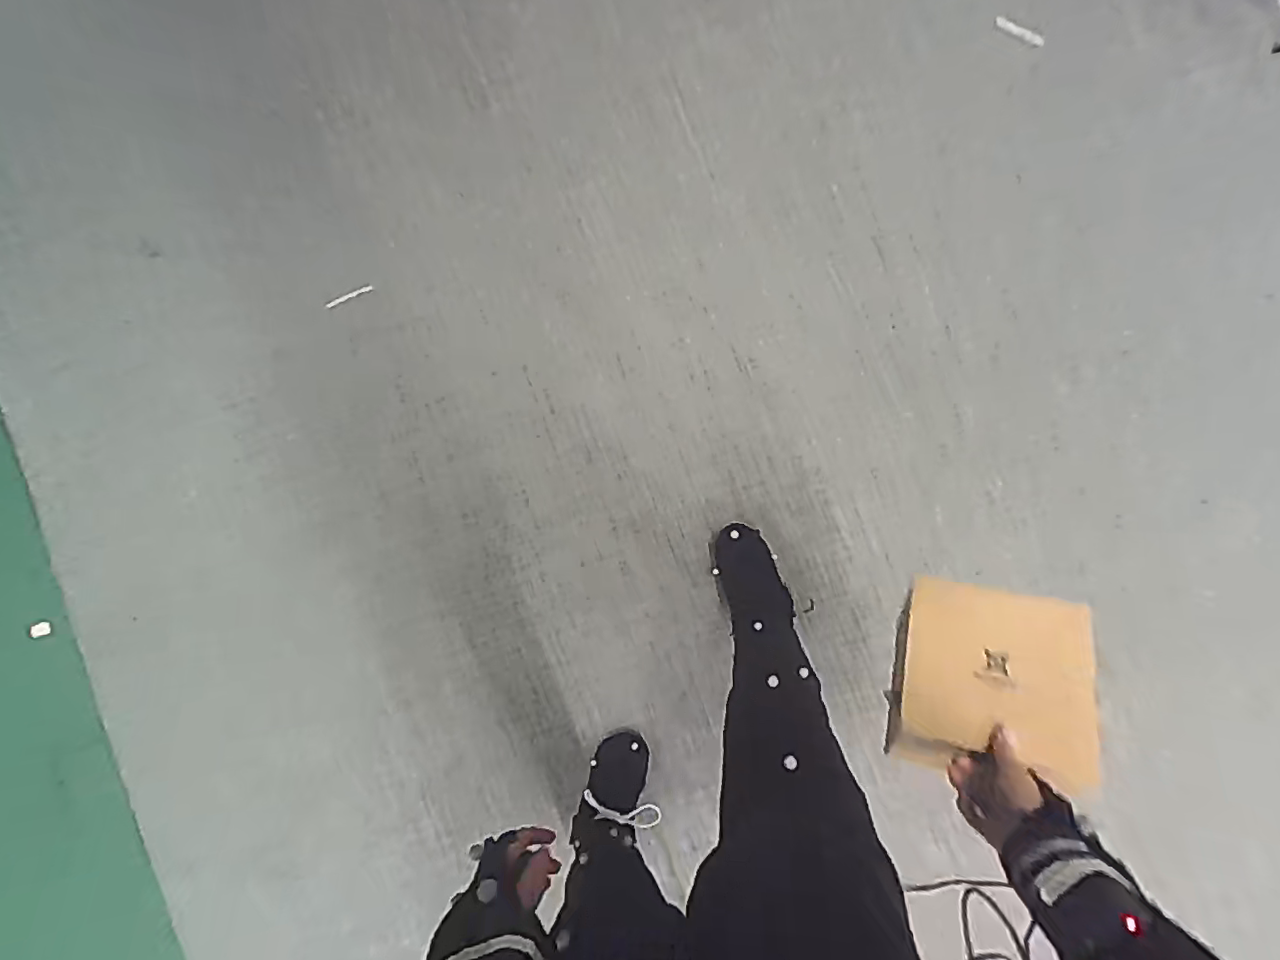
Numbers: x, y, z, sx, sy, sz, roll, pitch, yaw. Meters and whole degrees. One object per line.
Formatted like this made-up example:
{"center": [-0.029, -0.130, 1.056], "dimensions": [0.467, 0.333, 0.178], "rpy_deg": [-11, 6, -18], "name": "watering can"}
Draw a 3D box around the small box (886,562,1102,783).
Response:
{"center": [0.377, 0.217, 0.608], "dimensions": [0.168, 0.176, 0.179], "rpy_deg": [6, 60, 23], "name": "small box"}
